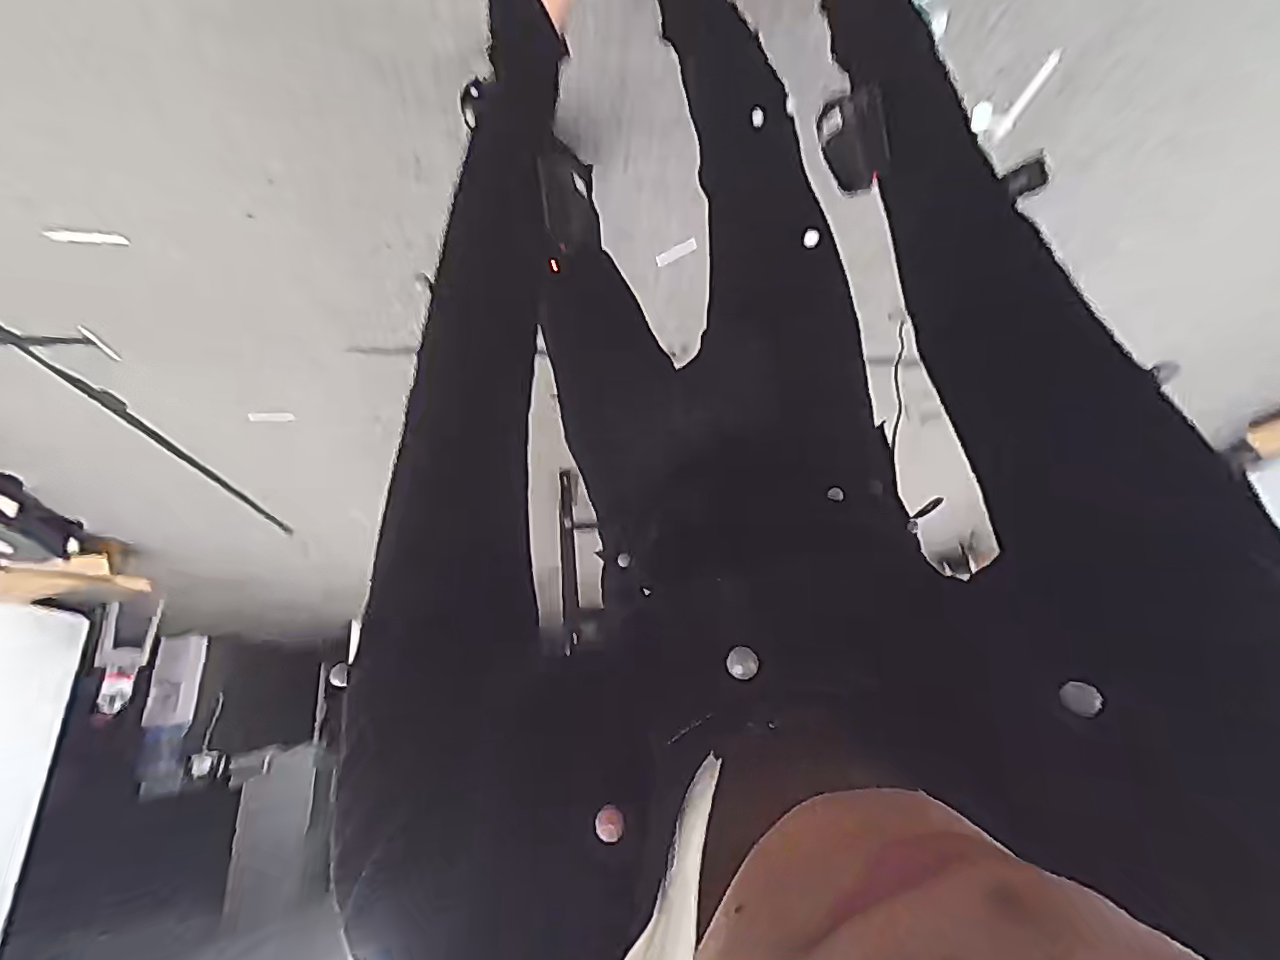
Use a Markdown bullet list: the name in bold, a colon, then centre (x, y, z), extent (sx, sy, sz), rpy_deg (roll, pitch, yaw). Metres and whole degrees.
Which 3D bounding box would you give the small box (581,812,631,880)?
- **small box**: centre (-0.139, 1.422, 2.112), extent (0.168, 0.176, 0.179), rpy_deg (-1, 160, -14)

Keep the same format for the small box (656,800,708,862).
- **small box**: centre (0.165, 1.421, 2.199), extent (0.168, 0.176, 0.179), rpy_deg (-2, 158, -11)
